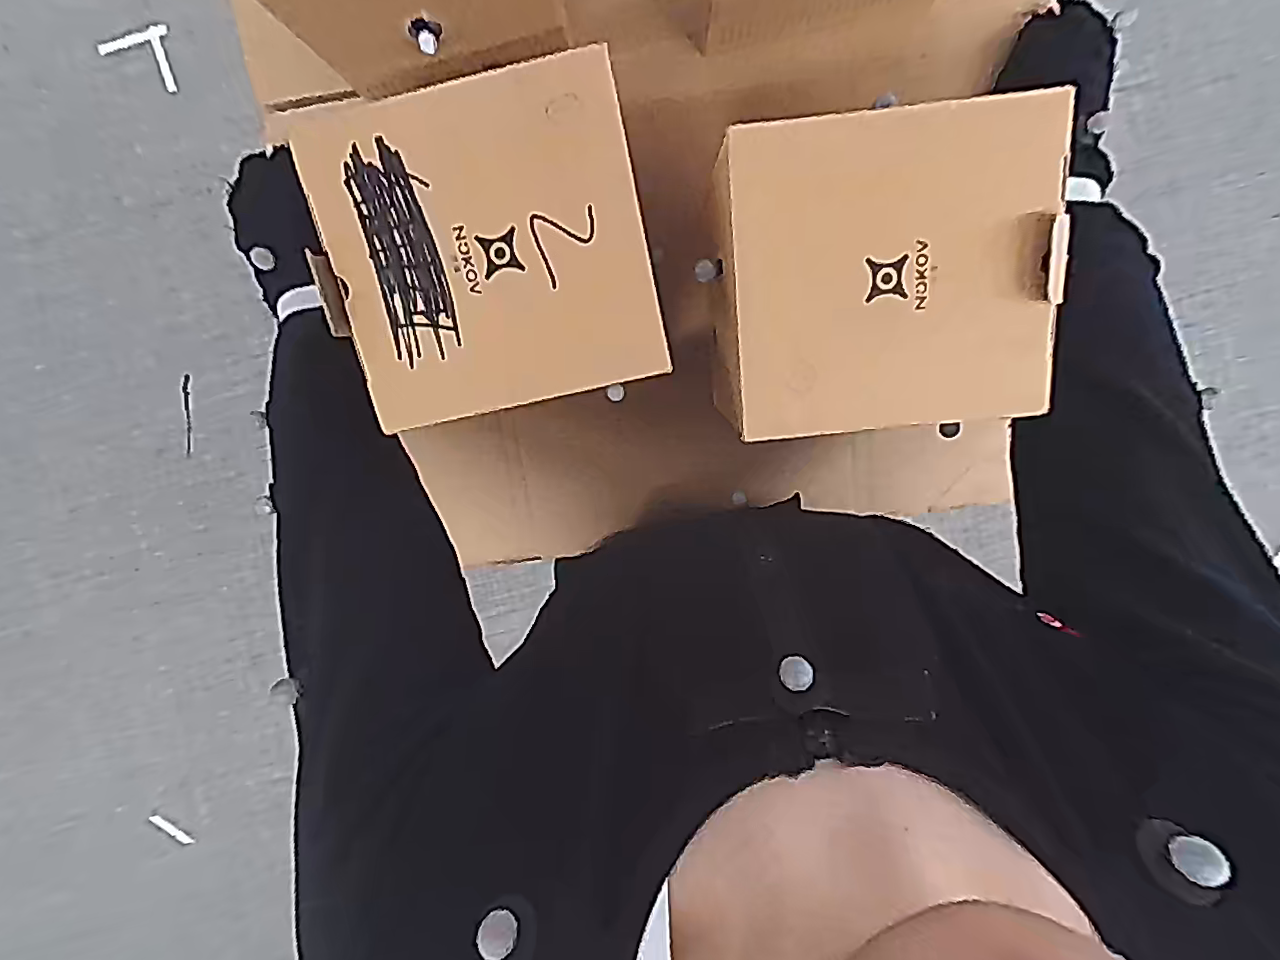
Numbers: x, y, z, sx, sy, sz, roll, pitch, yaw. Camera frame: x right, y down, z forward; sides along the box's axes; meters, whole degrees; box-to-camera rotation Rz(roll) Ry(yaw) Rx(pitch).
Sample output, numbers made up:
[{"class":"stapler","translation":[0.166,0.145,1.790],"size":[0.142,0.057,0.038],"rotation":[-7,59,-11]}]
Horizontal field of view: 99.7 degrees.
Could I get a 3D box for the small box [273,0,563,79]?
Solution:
[{"class":"small box","translation":[-0.150,-0.380,0.325],"size":[0.168,0.176,0.179],"rotation":[-8,101,3]}]
